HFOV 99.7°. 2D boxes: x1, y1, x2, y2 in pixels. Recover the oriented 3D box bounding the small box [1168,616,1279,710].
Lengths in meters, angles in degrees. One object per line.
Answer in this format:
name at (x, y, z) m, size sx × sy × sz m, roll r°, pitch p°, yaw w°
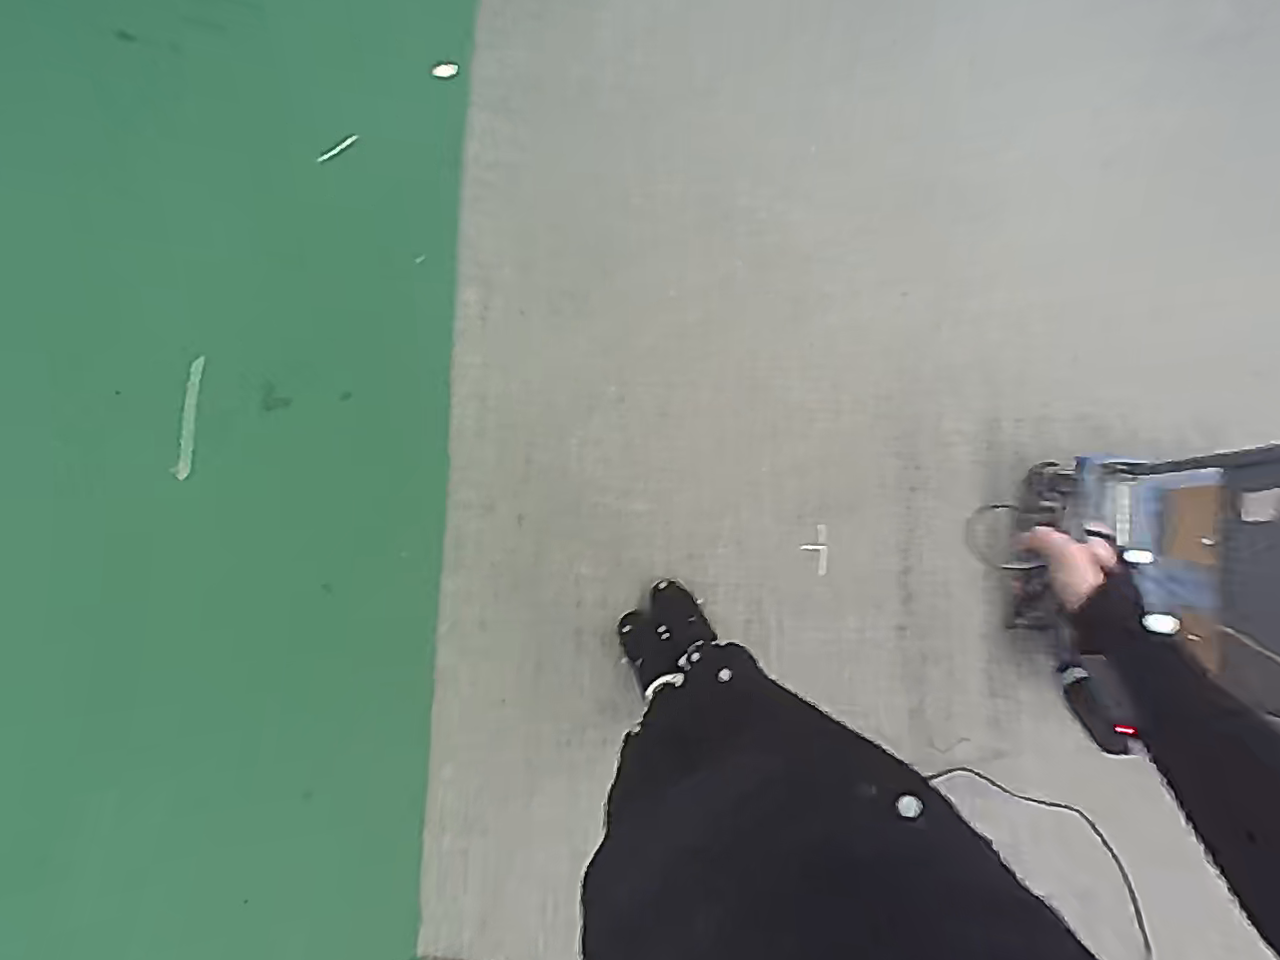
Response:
small box at (1.337, 0.401, 1.194) m, size 0.179 × 0.176 × 0.168 m, roll 9°, pitch 83°, yaw -1°
